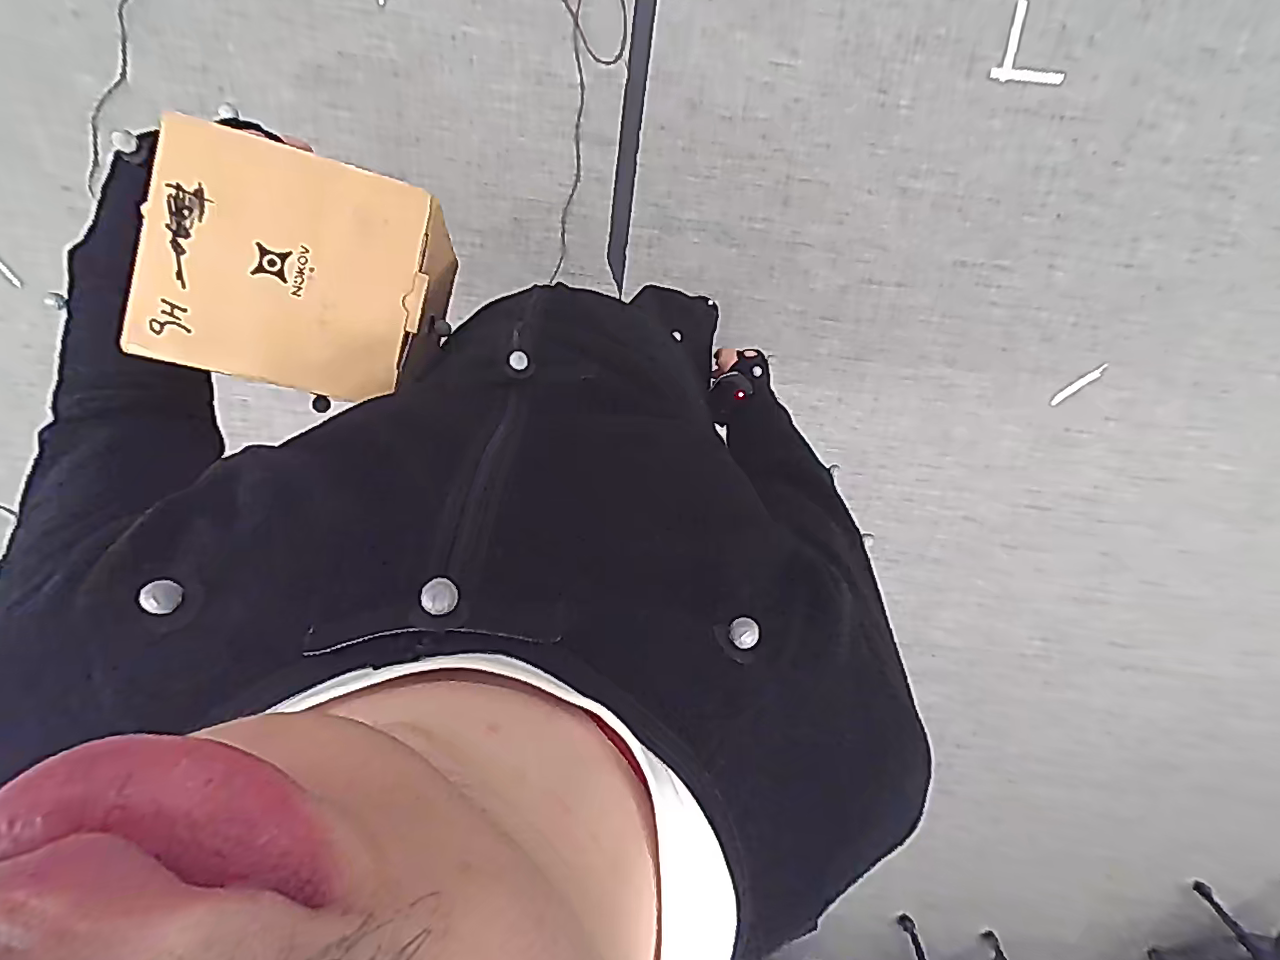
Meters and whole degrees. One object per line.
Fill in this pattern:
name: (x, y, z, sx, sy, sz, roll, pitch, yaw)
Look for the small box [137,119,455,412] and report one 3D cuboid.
small box: (-0.267, -0.157, 0.468, 0.179, 0.176, 0.168, 12, 92, -15)
